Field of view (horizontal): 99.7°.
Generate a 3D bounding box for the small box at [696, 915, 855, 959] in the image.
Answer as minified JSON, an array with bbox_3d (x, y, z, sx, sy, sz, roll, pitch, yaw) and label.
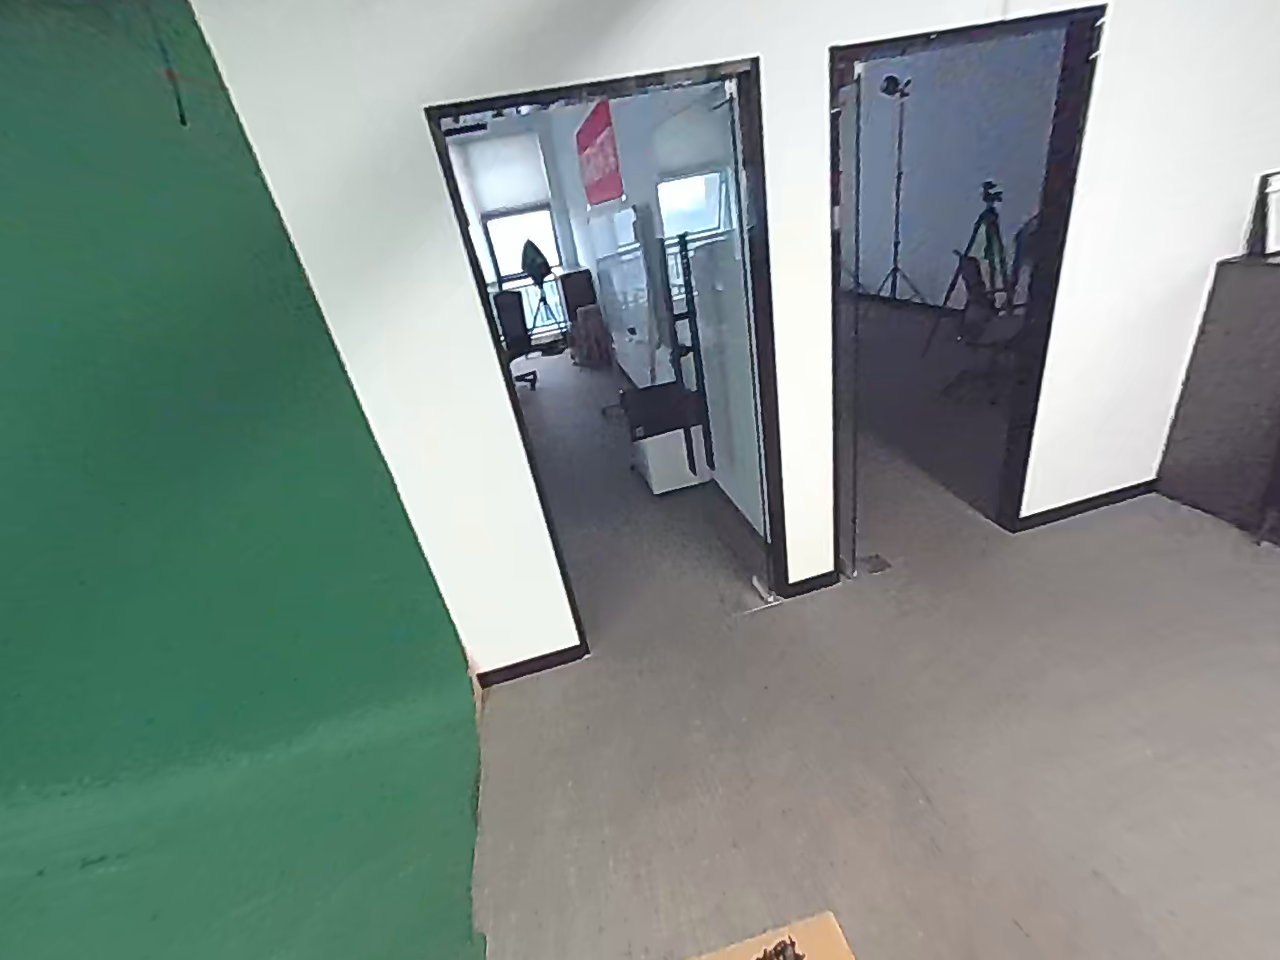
[{"bbox_3d":[0.140,0.543,0.471,0.168,0.176,0.179,-14,24,-6],"label":"small box"}]
